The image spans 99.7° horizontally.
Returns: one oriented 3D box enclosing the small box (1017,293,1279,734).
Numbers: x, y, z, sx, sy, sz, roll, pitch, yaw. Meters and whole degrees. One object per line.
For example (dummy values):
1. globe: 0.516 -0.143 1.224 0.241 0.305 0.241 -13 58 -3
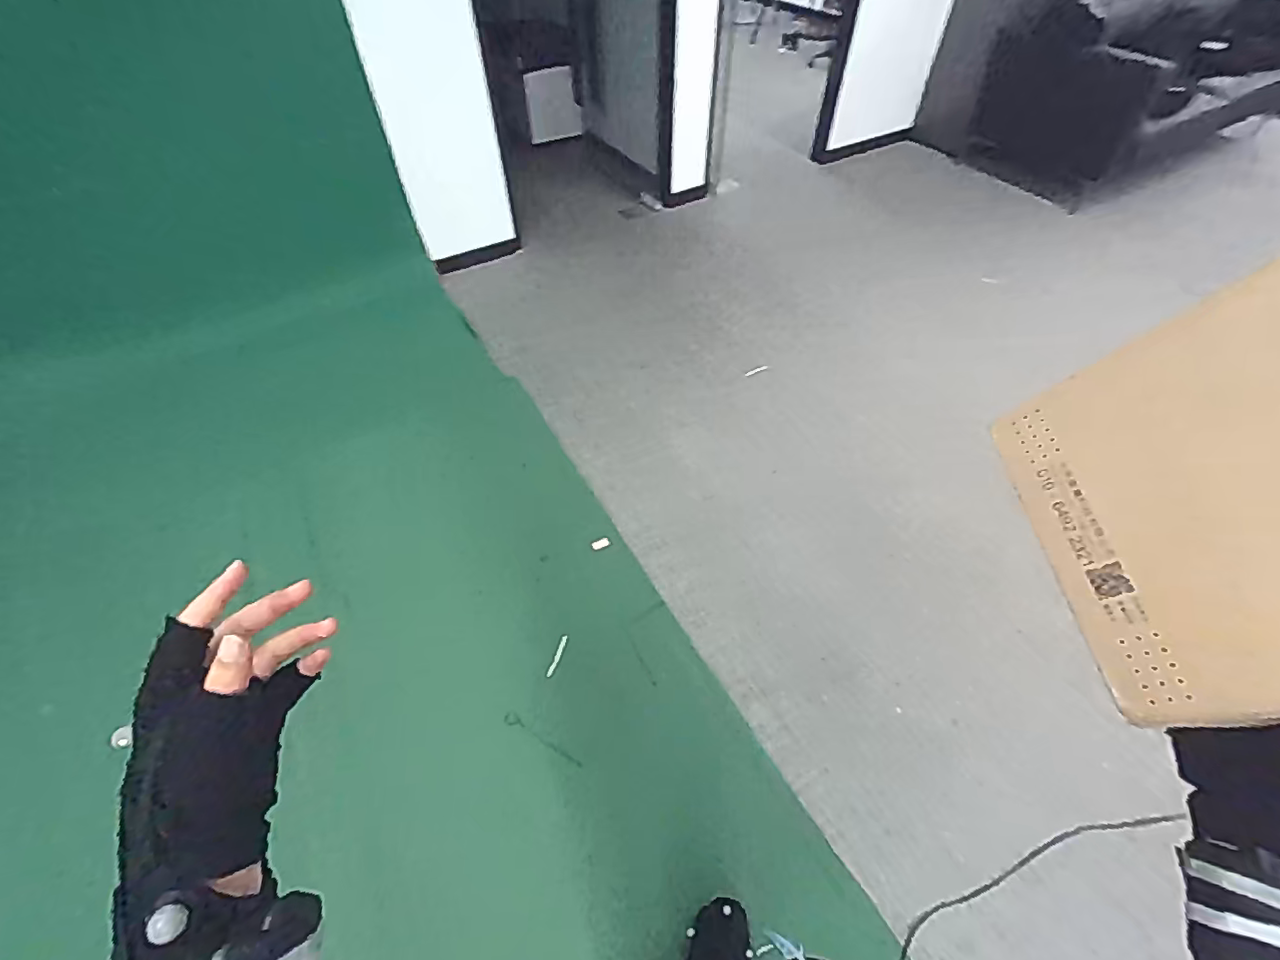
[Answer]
1. small box: 0.326 0.017 0.249 0.179 0.176 0.168 13 56 -26
